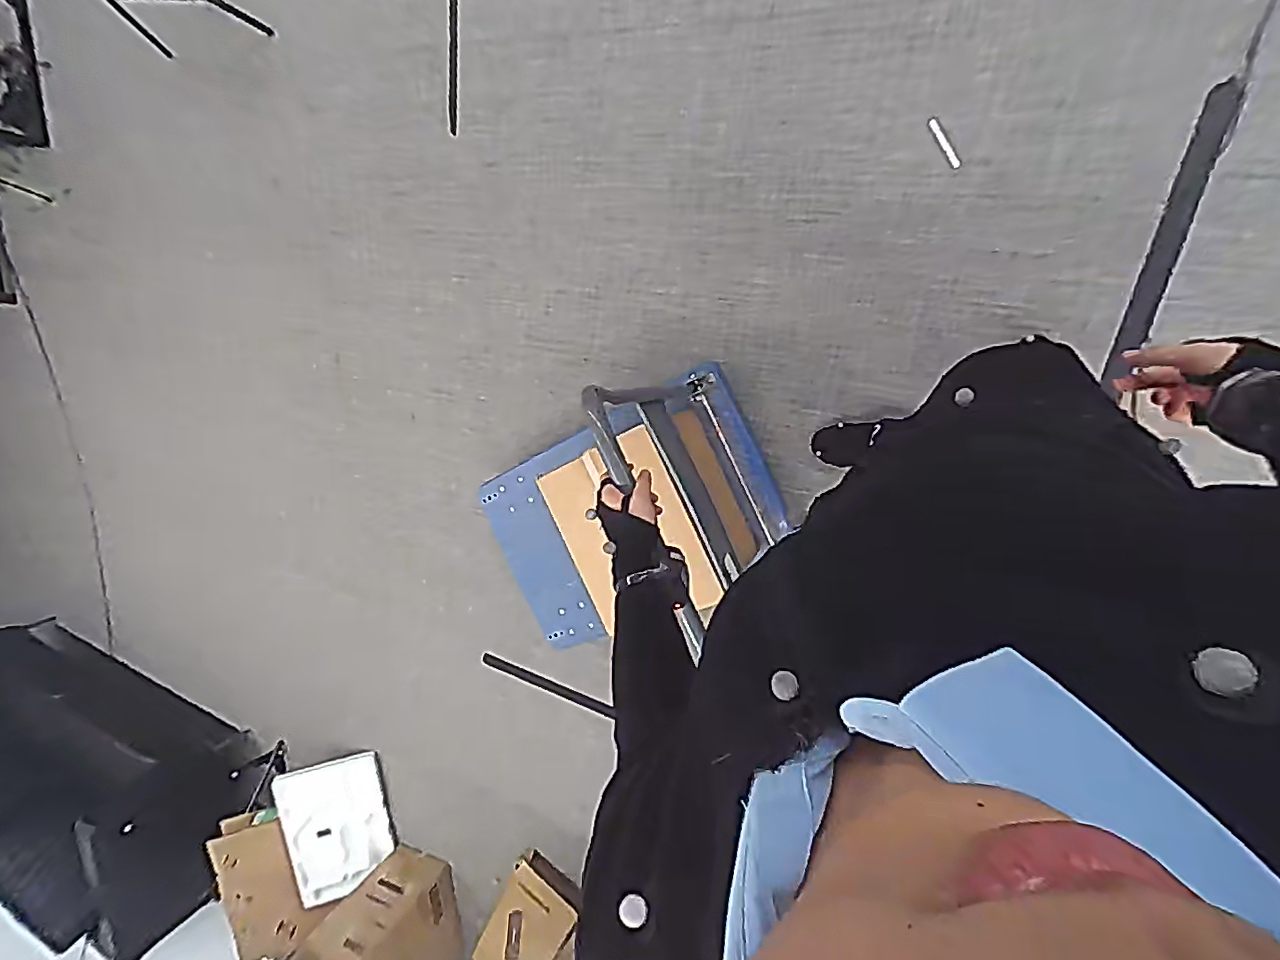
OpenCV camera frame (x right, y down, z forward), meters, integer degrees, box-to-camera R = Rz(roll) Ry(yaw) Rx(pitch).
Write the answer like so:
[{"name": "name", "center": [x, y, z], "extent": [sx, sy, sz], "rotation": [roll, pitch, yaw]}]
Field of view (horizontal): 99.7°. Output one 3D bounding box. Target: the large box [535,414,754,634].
[{"name": "large box", "center": [0.026, 0.094, 1.308], "extent": [0.320, 0.320, 0.408], "rotation": [-25, 90, 27]}]
